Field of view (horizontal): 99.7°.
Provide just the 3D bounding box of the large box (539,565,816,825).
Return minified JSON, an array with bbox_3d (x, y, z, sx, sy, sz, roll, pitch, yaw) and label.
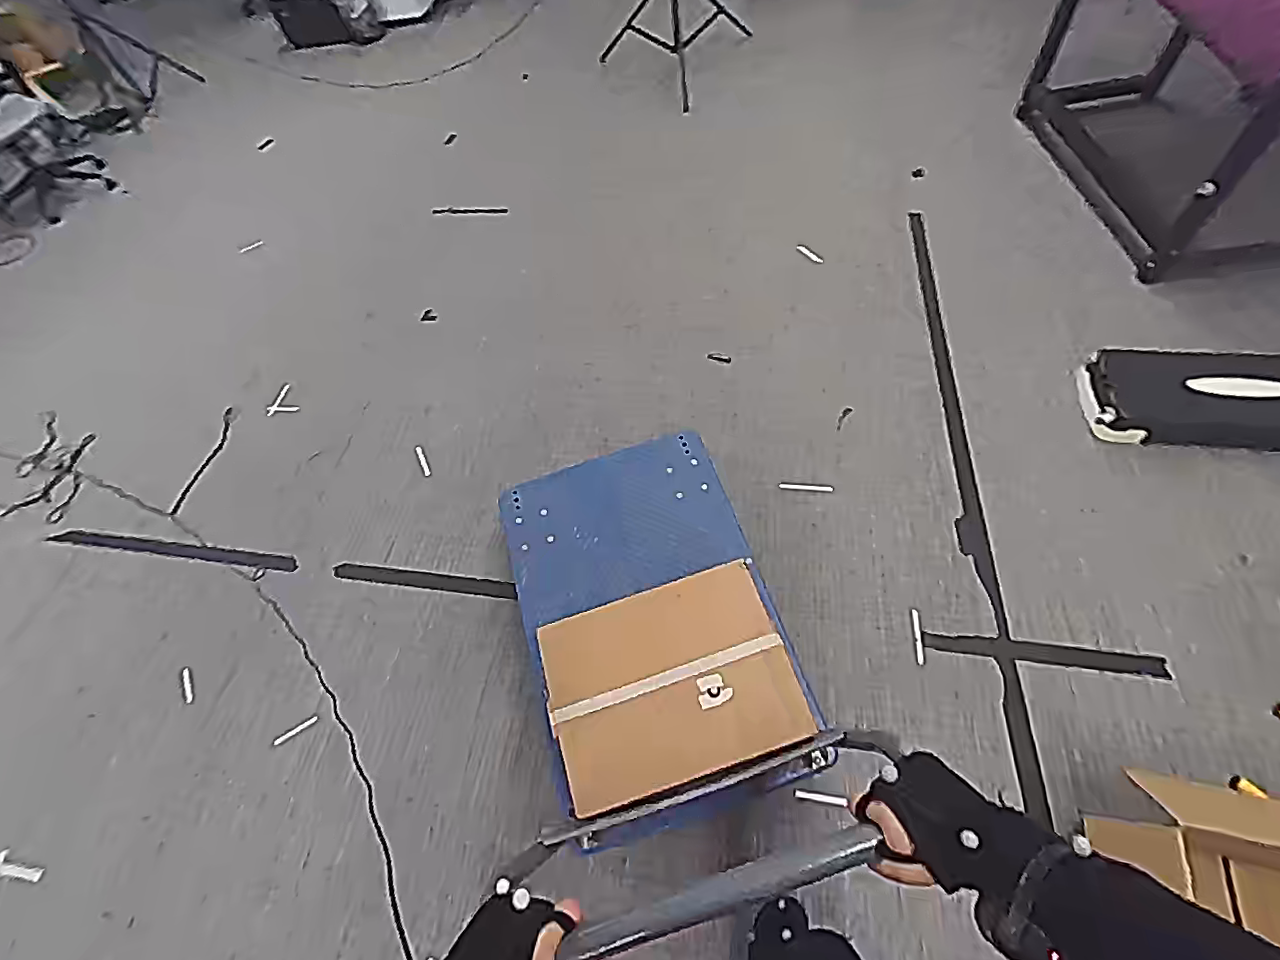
[{"bbox_3d":[0.063,0.415,1.043,0.408,0.320,0.320,-18,62,-3],"label":"large box"}]
